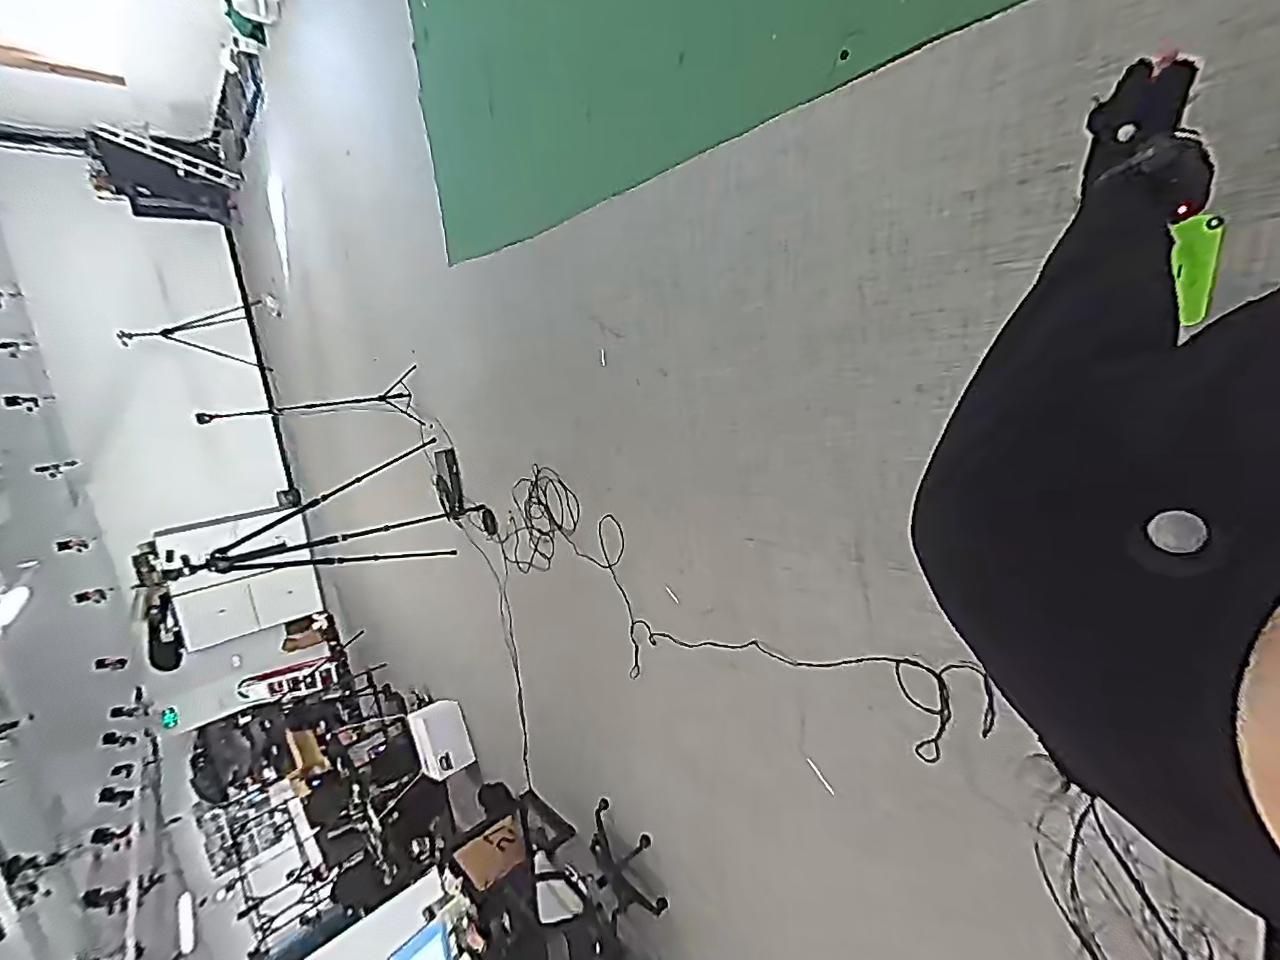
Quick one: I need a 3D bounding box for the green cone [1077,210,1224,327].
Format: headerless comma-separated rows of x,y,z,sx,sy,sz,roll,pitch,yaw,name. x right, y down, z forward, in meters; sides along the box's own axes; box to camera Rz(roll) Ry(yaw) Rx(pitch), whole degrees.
0.881,-0.375,0.970,0.200,0.368,0.202,11,111,47,green cone
